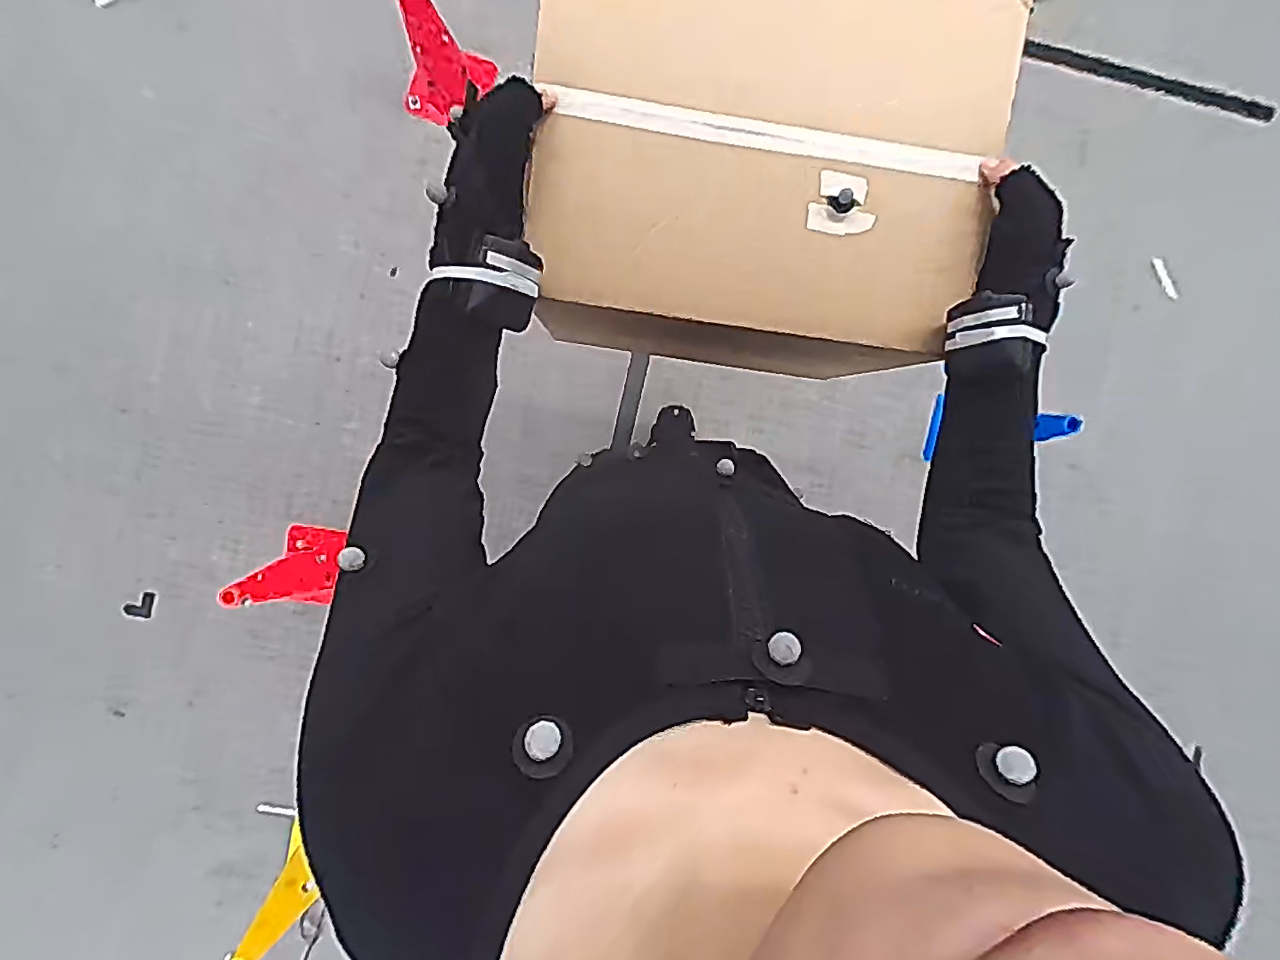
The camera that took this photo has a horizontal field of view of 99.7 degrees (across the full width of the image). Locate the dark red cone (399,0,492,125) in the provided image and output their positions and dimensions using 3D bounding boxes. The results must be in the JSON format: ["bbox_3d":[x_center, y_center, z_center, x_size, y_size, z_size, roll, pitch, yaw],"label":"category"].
[{"bbox_3d":[-0.482,-1.023,1.215,0.201,0.394,0.202,18,91,-4],"label":"dark red cone"}]

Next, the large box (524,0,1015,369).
[{"bbox_3d":[0.100,-0.315,0.611,0.408,0.320,0.320,7,97,-5],"label":"large box"}]

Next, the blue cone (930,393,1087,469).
[{"bbox_3d":[0.924,-0.132,1.349,0.192,0.380,0.193,15,91,-4],"label":"blue cone"}]

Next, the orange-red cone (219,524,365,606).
[{"bbox_3d":[-0.825,0.231,1.252,0.198,0.360,0.199,9,92,-2],"label":"orange-red cone"}]

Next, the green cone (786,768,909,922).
[{"bbox_3d":[0.540,0.932,1.337,0.202,0.368,0.200,-26,93,-4],"label":"green cone"}]
